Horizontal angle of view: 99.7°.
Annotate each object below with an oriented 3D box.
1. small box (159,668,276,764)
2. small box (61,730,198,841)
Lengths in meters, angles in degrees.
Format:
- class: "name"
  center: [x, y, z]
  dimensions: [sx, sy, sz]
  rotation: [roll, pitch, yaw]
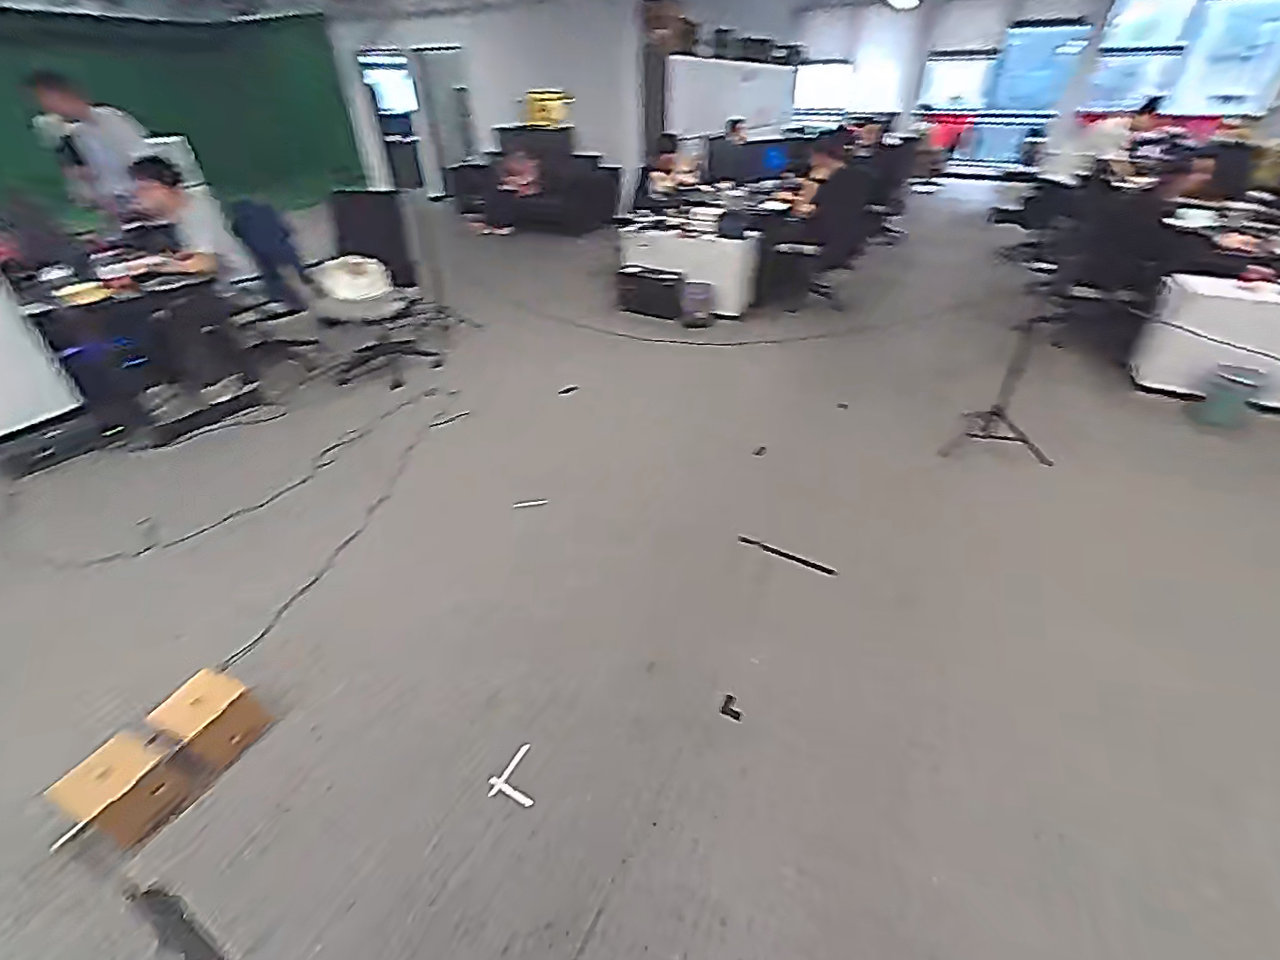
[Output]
- class: "small box"
  center: [-1.203, 0.678, 1.551]
  dimensions: [0.179, 0.176, 0.168]
  rotation: [13, 38, 17]
- class: "small box"
  center: [-1.306, 0.792, 1.397]
  dimensions: [0.179, 0.176, 0.168]
  rotation: [15, 38, 21]
